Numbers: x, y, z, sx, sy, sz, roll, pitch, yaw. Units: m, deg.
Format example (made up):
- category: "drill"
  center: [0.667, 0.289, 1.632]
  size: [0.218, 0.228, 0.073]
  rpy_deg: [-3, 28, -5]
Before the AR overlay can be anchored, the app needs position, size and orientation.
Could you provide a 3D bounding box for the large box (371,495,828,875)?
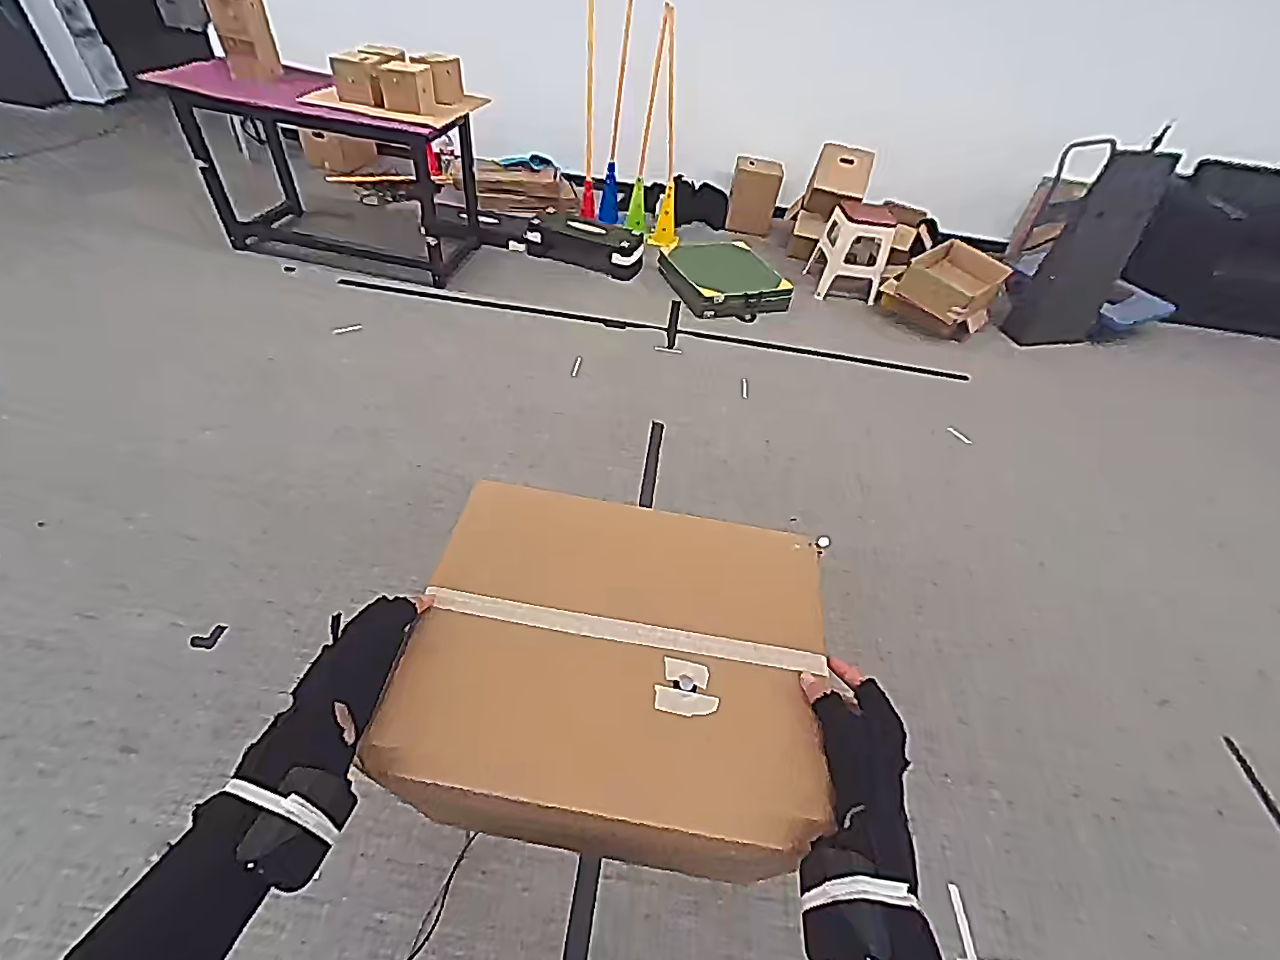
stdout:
- category: "large box"
  center: [-0.031, 0.256, 0.664]
  size: [0.408, 0.320, 0.320]
  rpy_deg: [10, 51, 1]
